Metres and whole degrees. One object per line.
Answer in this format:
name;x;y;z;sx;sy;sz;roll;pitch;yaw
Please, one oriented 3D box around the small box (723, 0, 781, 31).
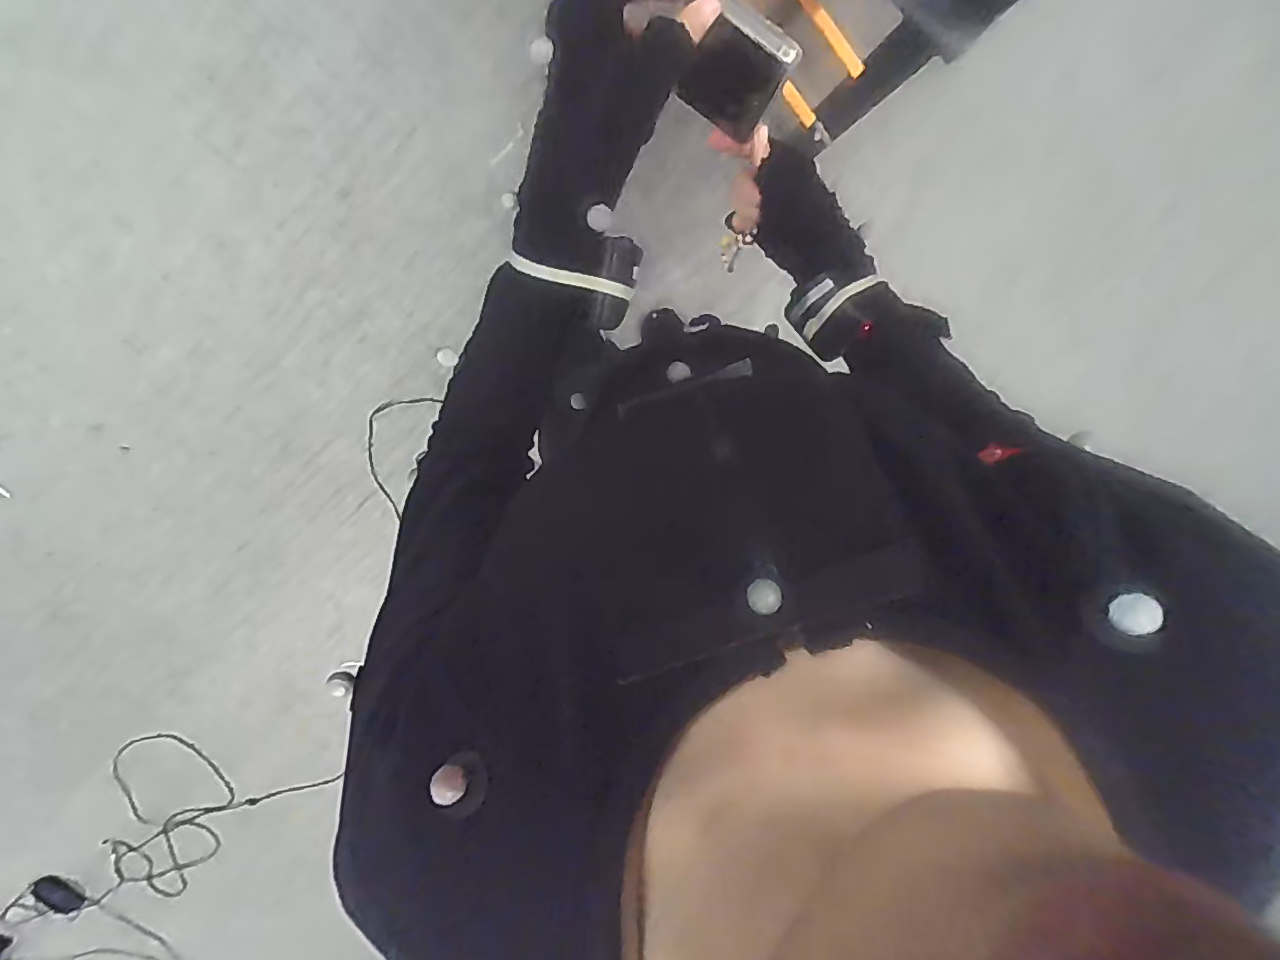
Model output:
small box;0.220;-0.976;0.974;0.179;0.176;0.168;-38;104;13
